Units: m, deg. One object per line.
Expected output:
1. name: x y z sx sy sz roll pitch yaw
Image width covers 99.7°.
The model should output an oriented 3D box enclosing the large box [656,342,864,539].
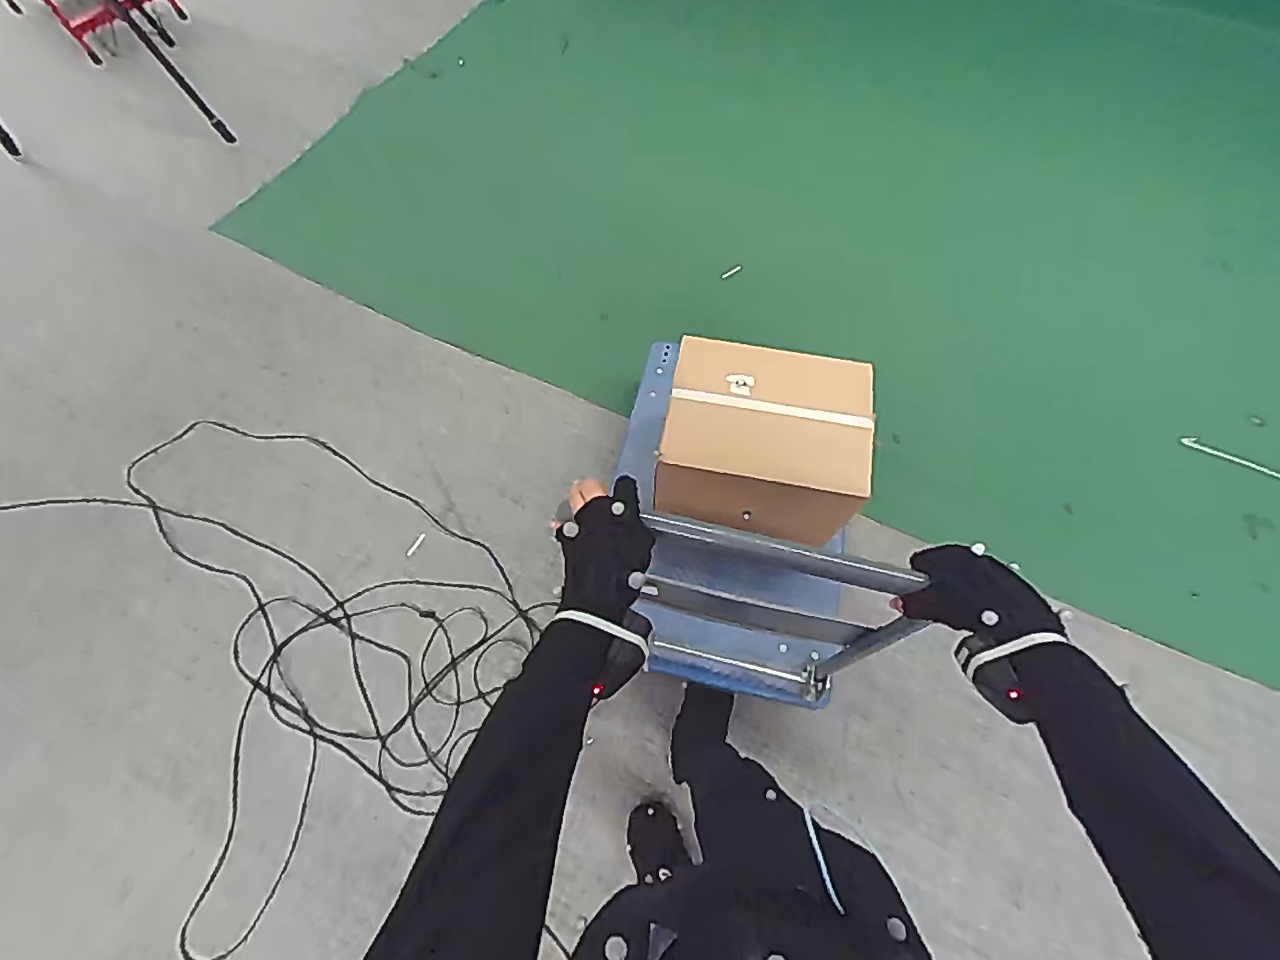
1. large box: 0.258 -0.077 1.235 0.408 0.320 0.320 9 65 5
